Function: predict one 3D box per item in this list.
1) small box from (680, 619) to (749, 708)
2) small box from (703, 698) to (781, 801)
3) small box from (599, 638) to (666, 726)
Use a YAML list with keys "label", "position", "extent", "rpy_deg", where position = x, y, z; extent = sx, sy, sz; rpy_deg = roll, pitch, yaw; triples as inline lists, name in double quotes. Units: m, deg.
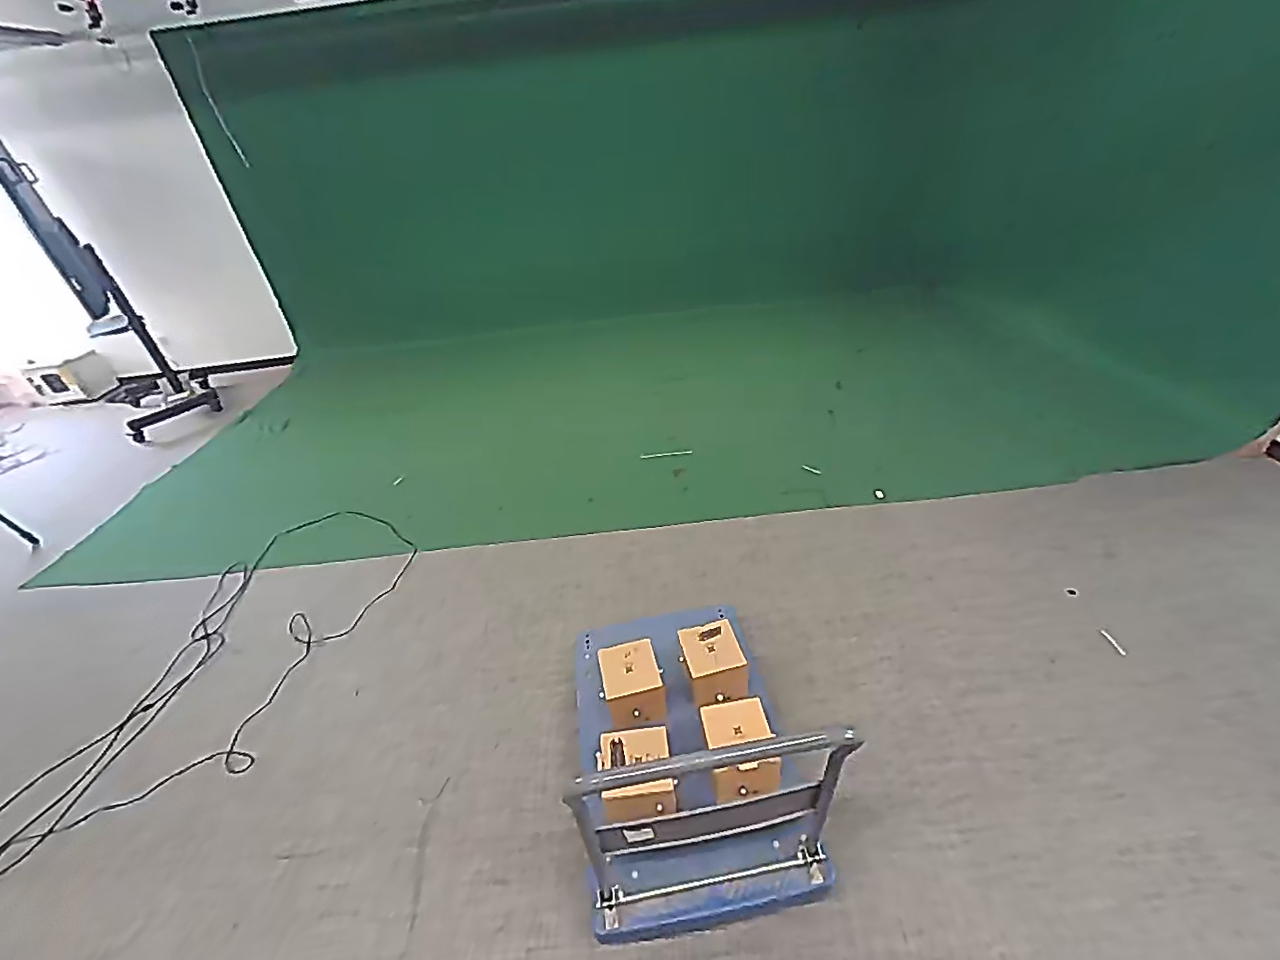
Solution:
- label: "small box"
  position: [0.224, 0.561, 1.653]
  extent: [0.168, 0.176, 0.179]
  rpy_deg: [-12, 36, -6]
- label: "small box"
  position: [0.263, 0.713, 1.432]
  extent: [0.168, 0.176, 0.179]
  rpy_deg: [-9, 35, -3]
- label: "small box"
  position: [-0.021, 0.612, 1.624]
  extent: [0.168, 0.176, 0.179]
  rpy_deg: [-11, 35, -7]
